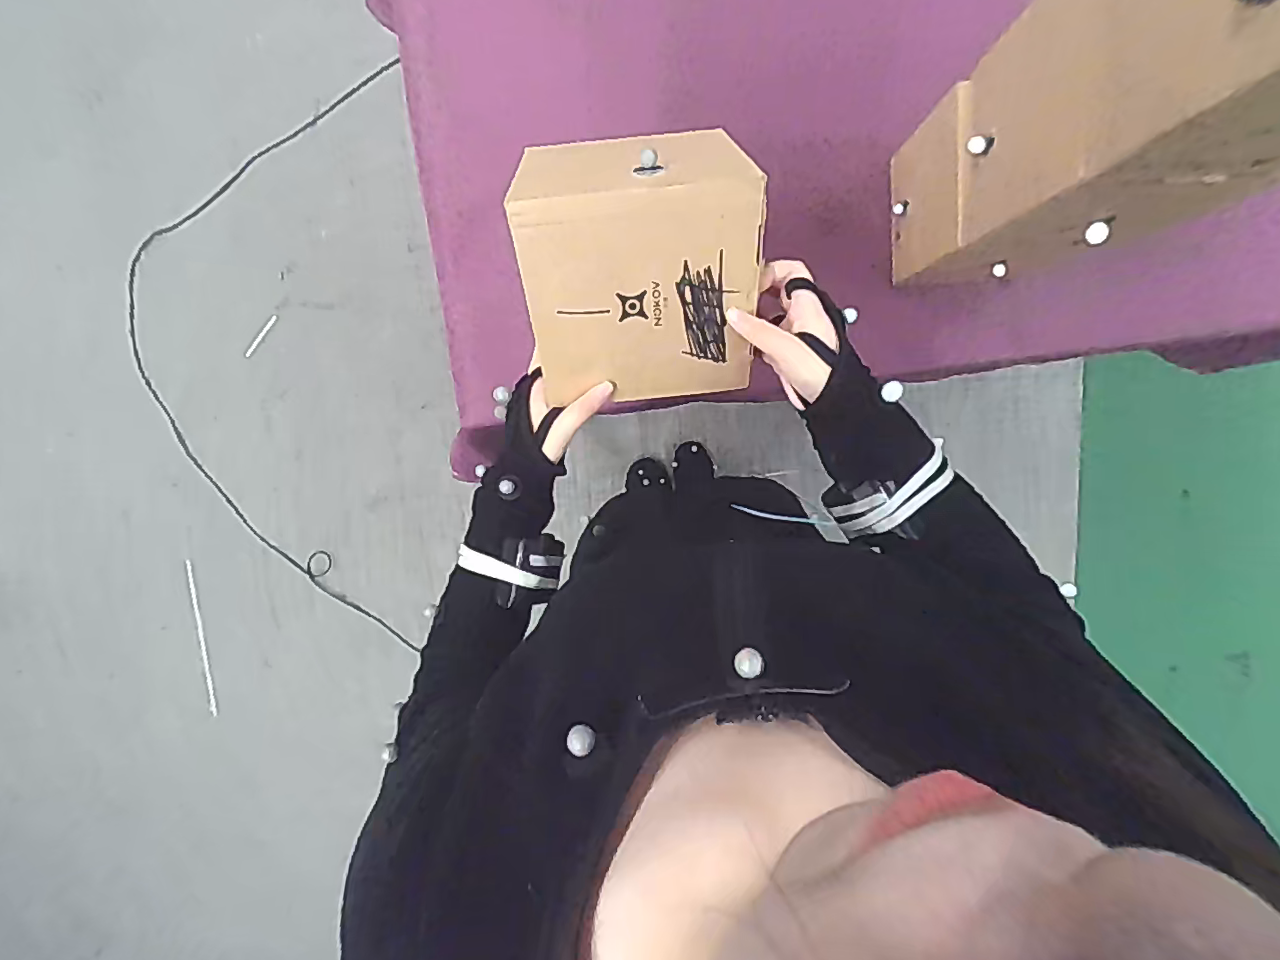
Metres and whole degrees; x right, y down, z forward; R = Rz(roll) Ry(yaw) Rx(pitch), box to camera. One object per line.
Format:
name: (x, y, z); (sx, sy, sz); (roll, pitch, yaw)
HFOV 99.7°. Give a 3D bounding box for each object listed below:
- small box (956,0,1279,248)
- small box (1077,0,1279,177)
small box: (0.404, -0.314, 0.474); (0.168, 0.176, 0.179); (0, 96, 2)
small box: (0.396, -0.295, 0.310); (0.168, 0.176, 0.179); (-2, 95, 2)
